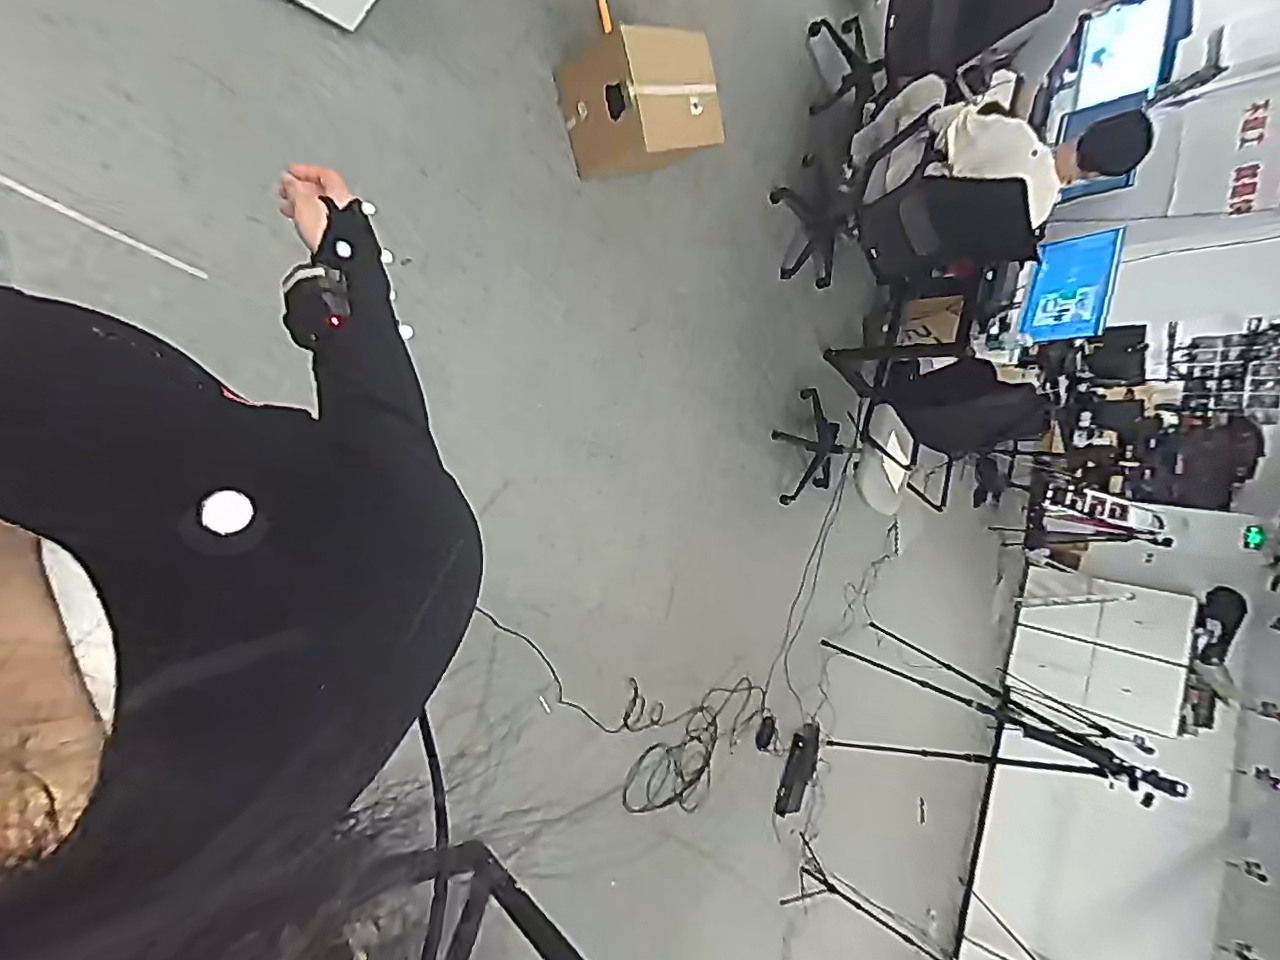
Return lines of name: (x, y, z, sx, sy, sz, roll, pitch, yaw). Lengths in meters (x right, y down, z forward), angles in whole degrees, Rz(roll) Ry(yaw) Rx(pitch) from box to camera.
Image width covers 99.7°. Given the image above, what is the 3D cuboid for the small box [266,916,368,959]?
small box: (-0.842, 1.252, 1.376, 0.168, 0.176, 0.179, 42, 65, -40)
